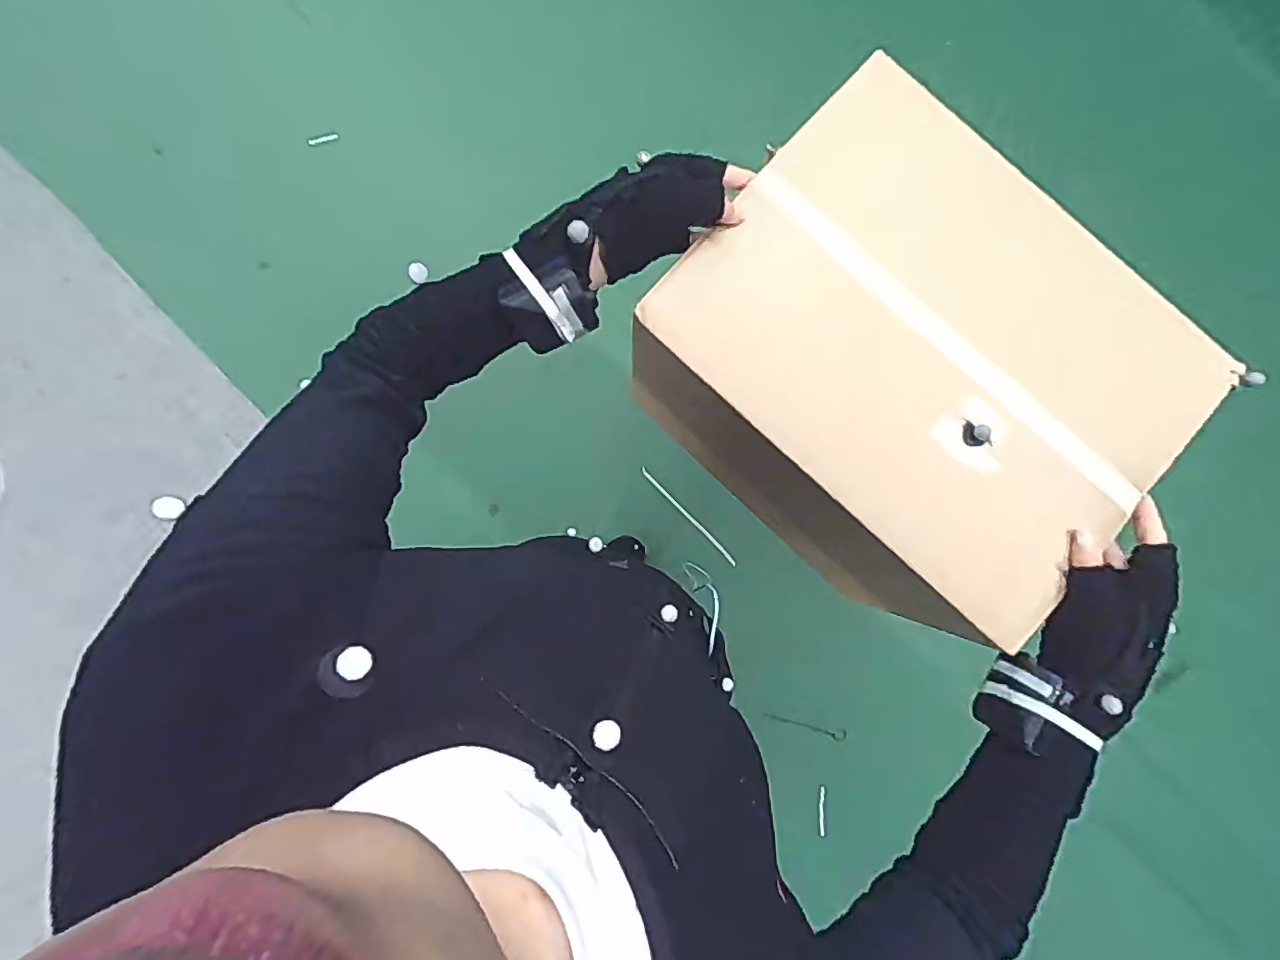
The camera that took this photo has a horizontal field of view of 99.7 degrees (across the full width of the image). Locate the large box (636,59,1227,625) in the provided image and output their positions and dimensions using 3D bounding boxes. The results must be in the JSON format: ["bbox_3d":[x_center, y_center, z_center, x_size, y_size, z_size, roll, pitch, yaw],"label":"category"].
[{"bbox_3d":[0.242,-0.114,0.597,0.408,0.320,0.320,43,87,1],"label":"large box"}]
